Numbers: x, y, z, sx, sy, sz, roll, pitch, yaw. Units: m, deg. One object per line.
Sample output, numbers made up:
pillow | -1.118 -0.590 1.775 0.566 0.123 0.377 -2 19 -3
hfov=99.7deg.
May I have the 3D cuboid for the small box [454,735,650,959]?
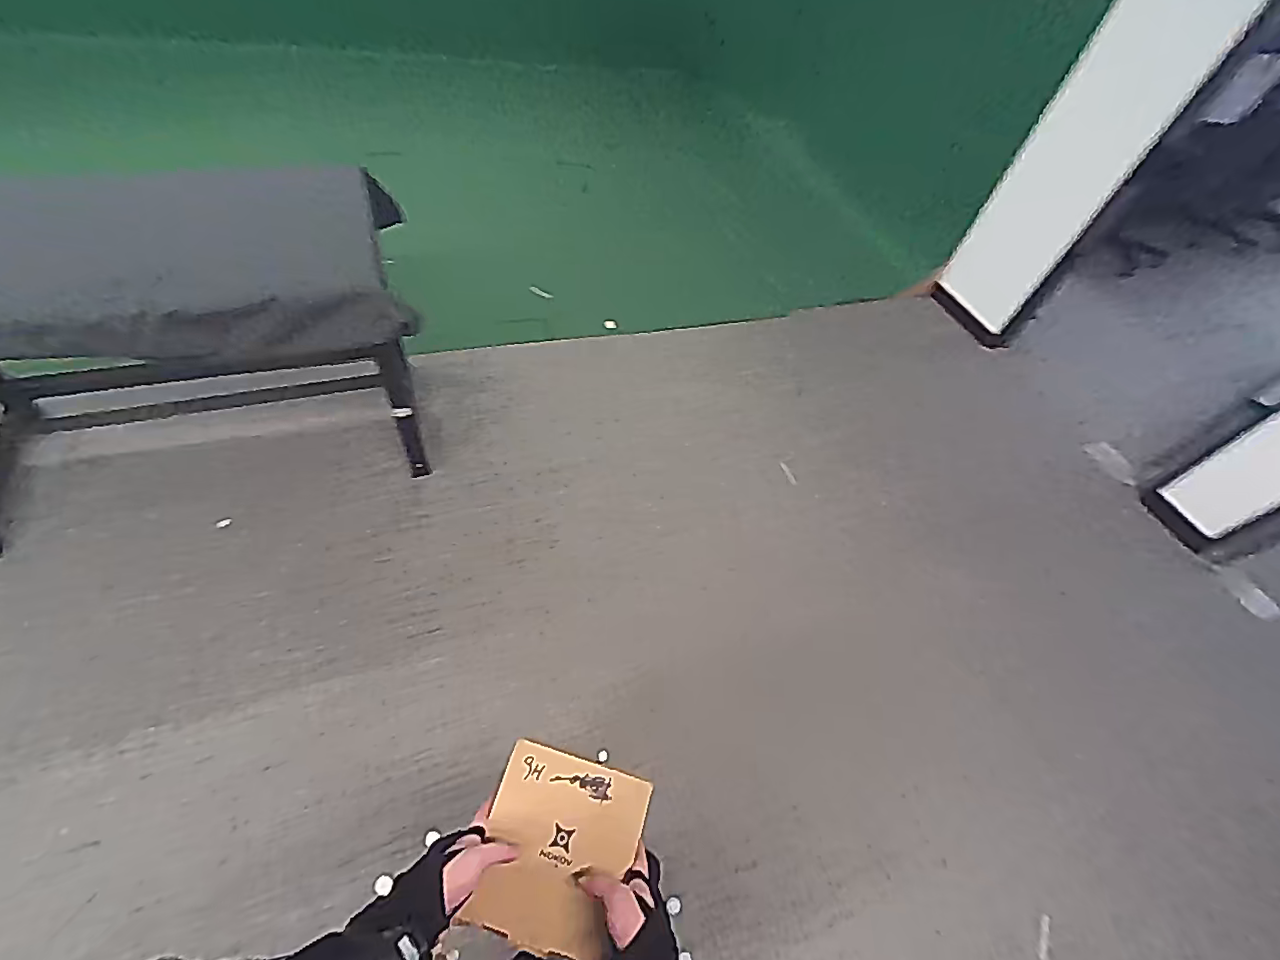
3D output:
small box | -0.092 0.420 0.645 0.168 0.176 0.179 16 65 3
